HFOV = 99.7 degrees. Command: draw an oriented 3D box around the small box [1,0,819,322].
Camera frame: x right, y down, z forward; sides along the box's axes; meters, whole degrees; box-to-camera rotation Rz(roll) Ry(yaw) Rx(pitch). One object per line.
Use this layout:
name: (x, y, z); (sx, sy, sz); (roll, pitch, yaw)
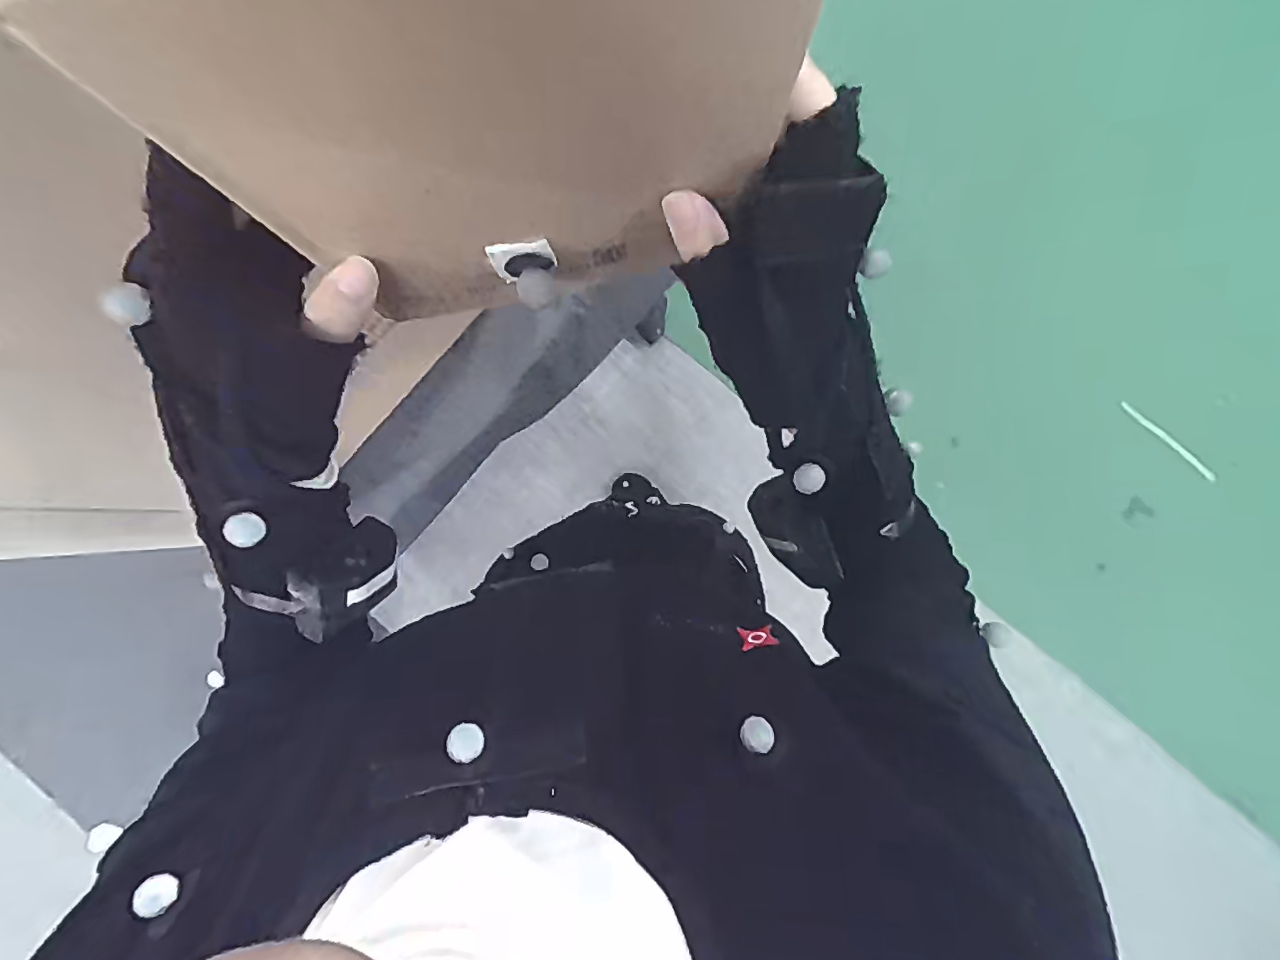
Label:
small box: (-0.054, -0.178, 0.182); (0.168, 0.176, 0.179); (-14, 87, 1)
